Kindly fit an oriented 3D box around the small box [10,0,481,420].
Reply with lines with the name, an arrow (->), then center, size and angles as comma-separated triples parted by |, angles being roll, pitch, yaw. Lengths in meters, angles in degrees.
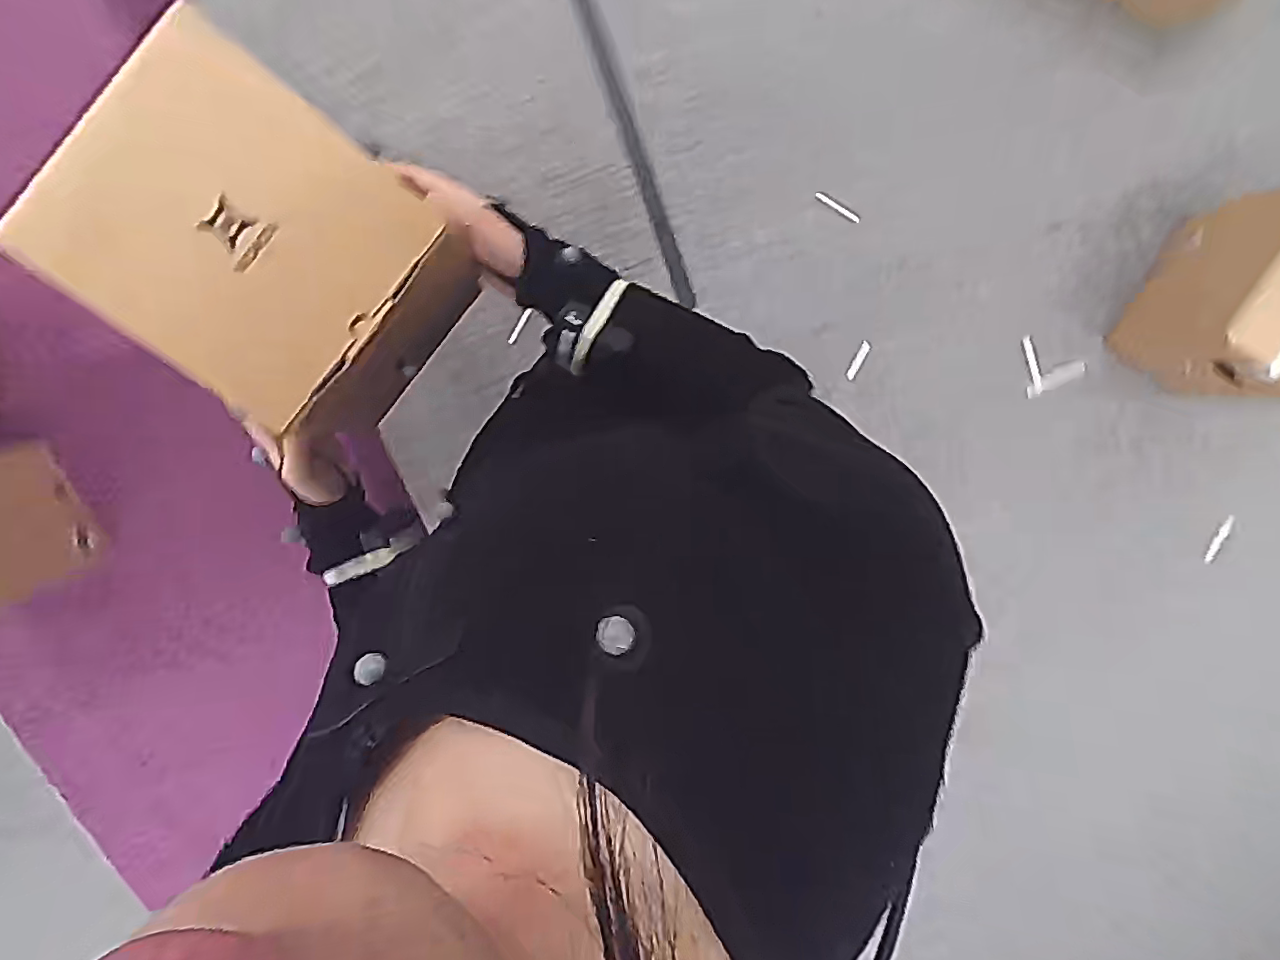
small box -> -0.237, -0.156, 0.386 | 0.179, 0.176, 0.168 | 38, 89, -13
